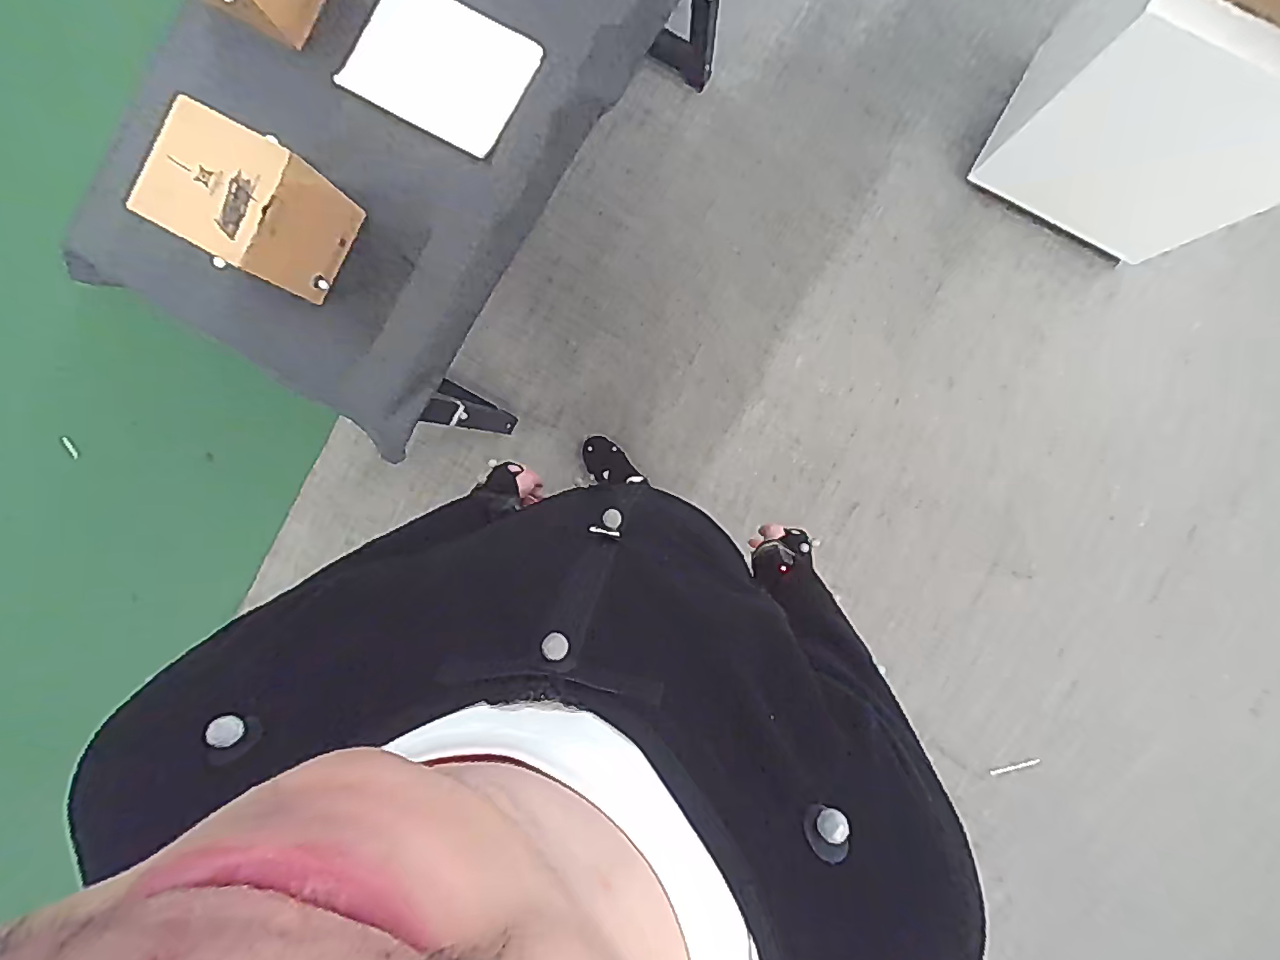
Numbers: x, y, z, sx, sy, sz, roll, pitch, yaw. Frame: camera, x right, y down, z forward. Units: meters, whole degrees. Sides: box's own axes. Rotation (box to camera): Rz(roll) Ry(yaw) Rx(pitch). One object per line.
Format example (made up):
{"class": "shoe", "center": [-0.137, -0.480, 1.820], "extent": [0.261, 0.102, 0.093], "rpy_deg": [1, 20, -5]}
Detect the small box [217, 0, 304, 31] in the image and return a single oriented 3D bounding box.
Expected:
{"class": "small box", "center": [-0.574, -0.781, 0.745], "extent": [0.179, 0.176, 0.168], "rpy_deg": [29, 92, 1]}

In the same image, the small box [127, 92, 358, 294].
{"class": "small box", "center": [-0.548, -0.390, 0.774], "extent": [0.179, 0.176, 0.168], "rpy_deg": [28, 92, 1]}
